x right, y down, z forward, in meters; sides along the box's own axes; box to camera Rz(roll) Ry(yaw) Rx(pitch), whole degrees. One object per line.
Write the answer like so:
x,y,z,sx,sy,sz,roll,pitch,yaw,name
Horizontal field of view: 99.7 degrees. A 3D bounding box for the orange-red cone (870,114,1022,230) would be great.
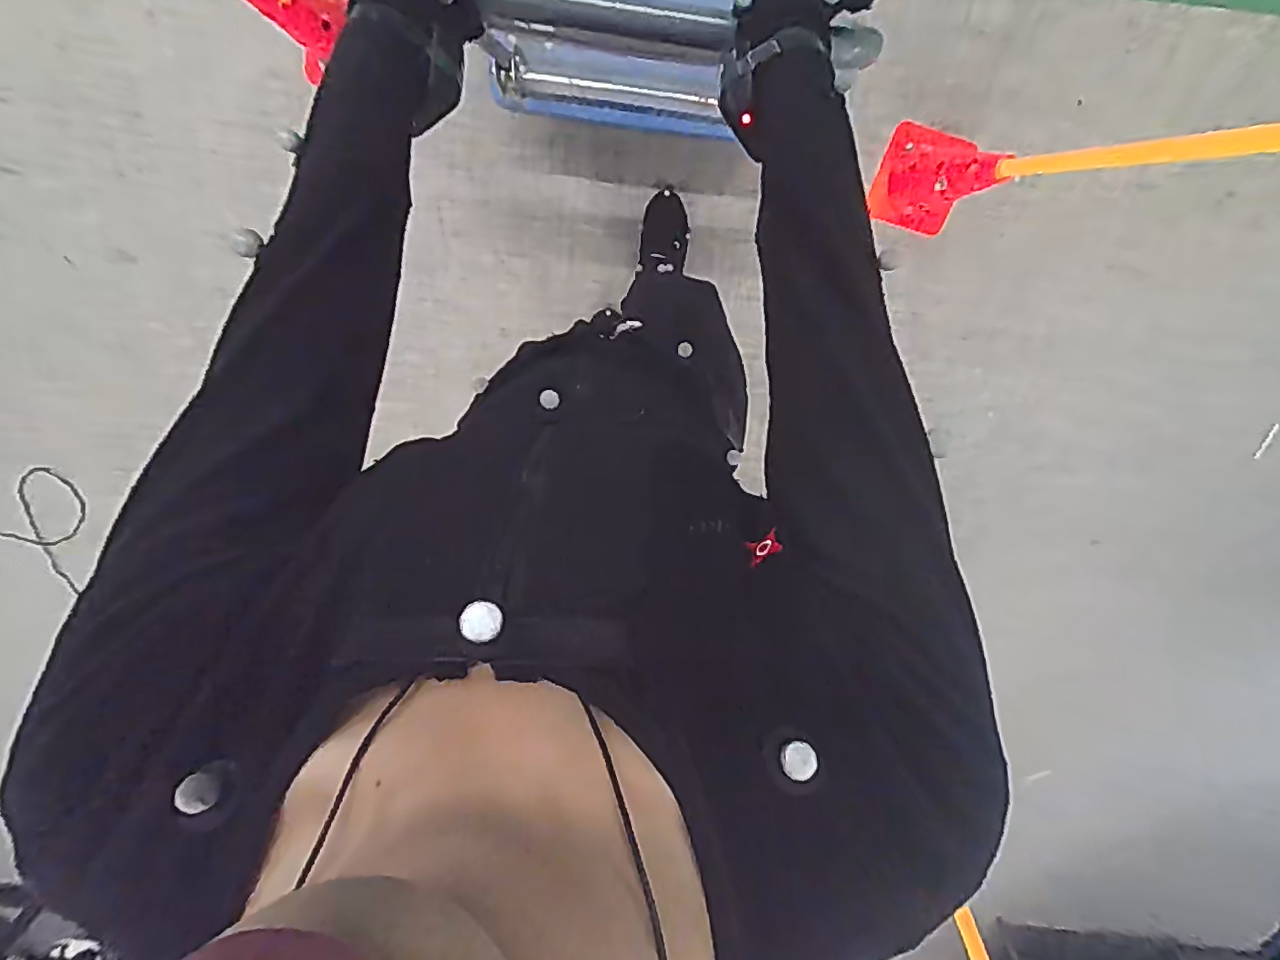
0.643,-0.624,1.080,0.198,0.360,0.199,16,116,-5,orange-red cone
